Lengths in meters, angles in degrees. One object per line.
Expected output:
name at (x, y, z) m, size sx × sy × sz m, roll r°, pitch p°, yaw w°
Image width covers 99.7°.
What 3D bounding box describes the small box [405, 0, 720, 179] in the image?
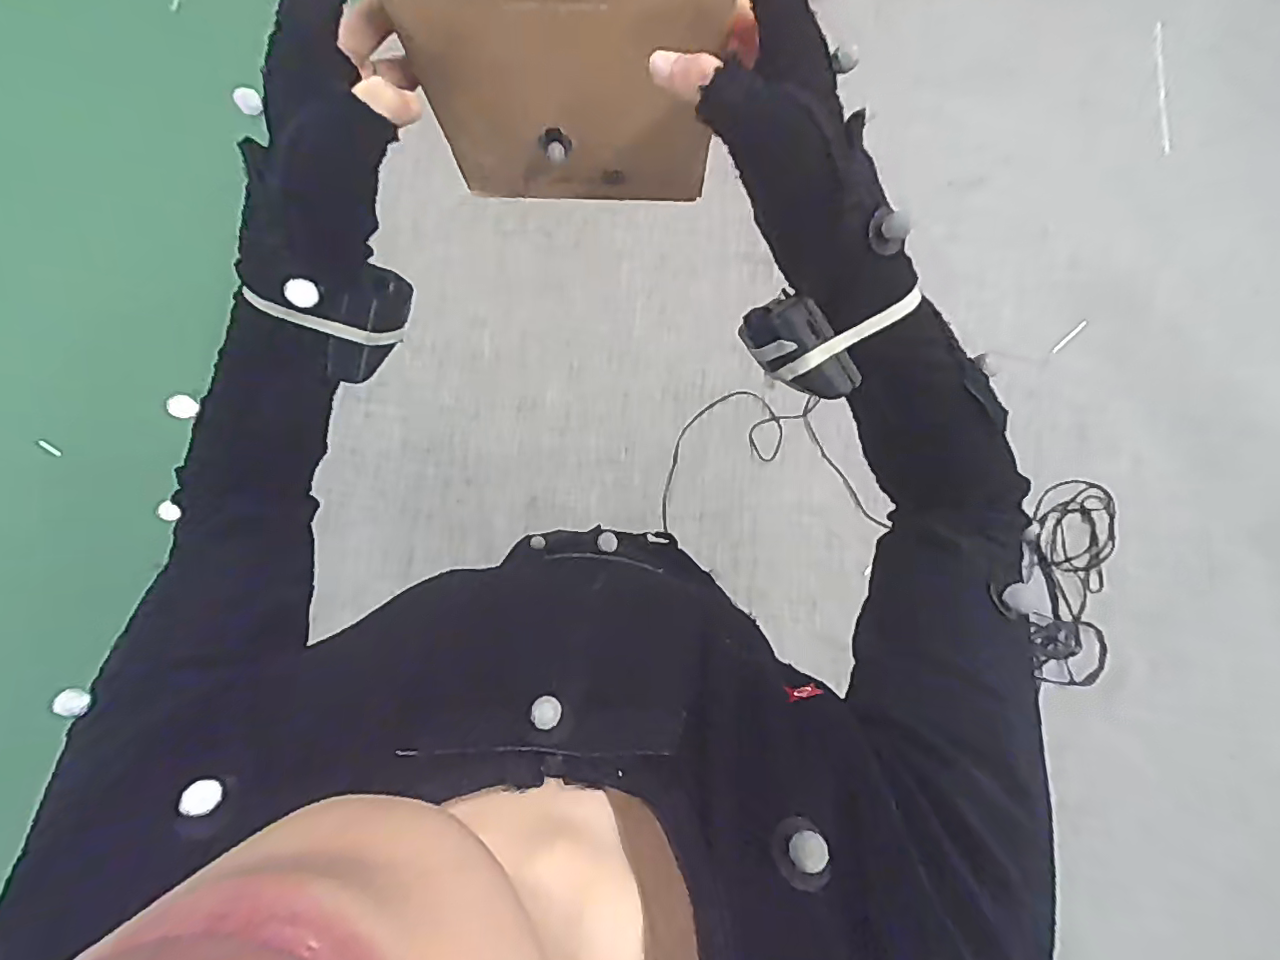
small box at (-0.041, -0.312, 0.313) m, size 0.168 × 0.176 × 0.179 m, roll 1°, pitch 83°, yaw 0°
